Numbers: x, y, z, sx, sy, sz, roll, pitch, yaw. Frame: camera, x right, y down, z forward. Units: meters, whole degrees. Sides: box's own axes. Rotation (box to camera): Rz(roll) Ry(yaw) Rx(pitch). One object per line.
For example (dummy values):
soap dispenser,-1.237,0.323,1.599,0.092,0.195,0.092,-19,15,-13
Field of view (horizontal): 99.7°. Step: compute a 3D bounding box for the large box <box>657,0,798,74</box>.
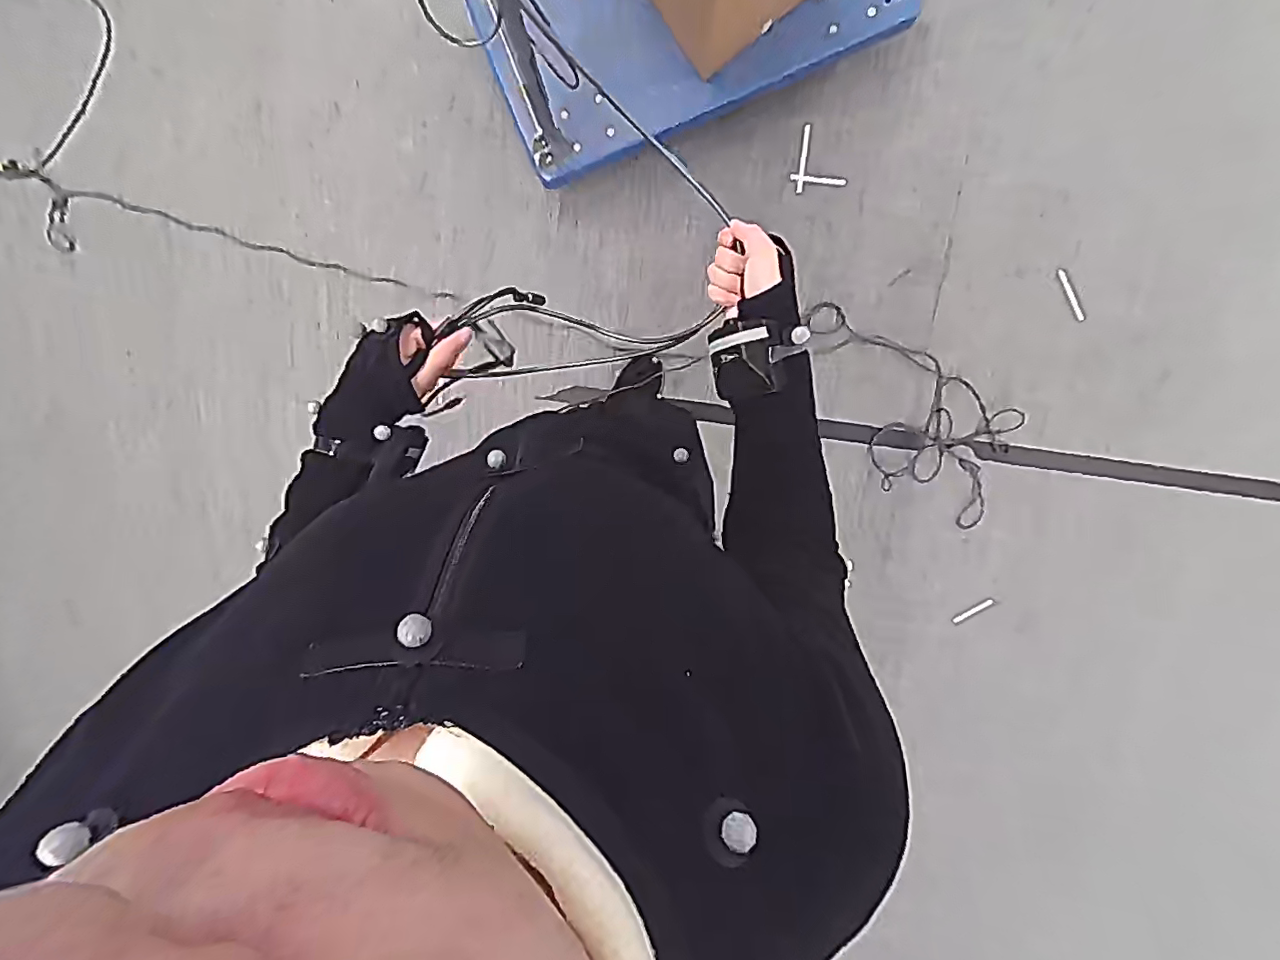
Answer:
large box,0.138,-1.058,0.939,0.320,0.320,0.408,-35,99,10
